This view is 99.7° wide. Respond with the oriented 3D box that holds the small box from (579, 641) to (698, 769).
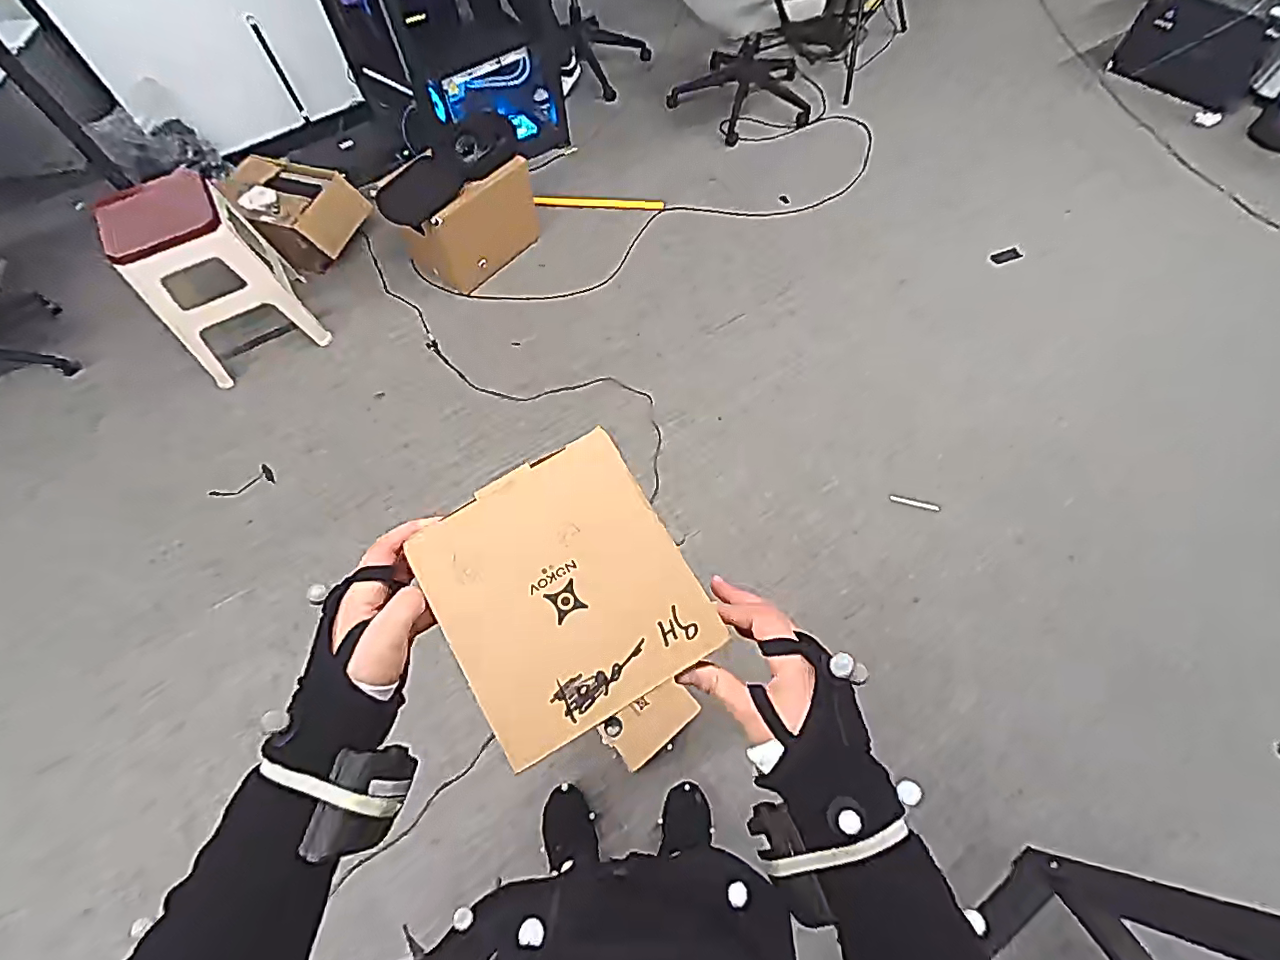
[{"bbox_3d":[-0.002,0.465,1.113,0.179,0.176,0.168,-37,69,-18],"label":"small box"}]
